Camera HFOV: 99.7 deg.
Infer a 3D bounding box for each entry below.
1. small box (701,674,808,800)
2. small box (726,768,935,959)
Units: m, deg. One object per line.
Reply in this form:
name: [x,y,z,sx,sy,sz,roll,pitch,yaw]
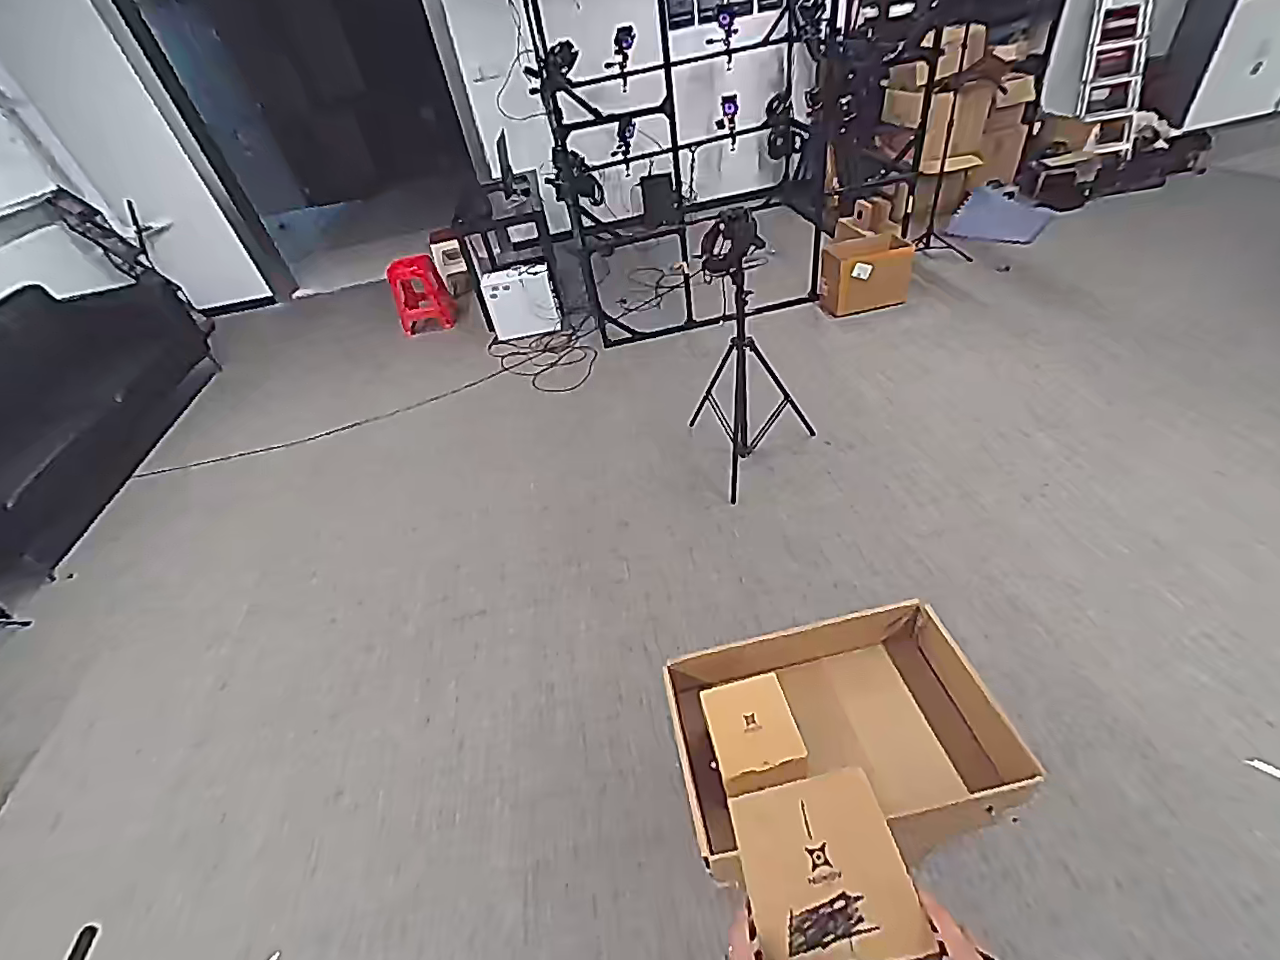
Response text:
small box: [0.229,0.535,1.108,0.168,0.176,0.179,-15,41,-2]
small box: [0.213,0.467,0.614,0.168,0.176,0.179,-19,37,7]
